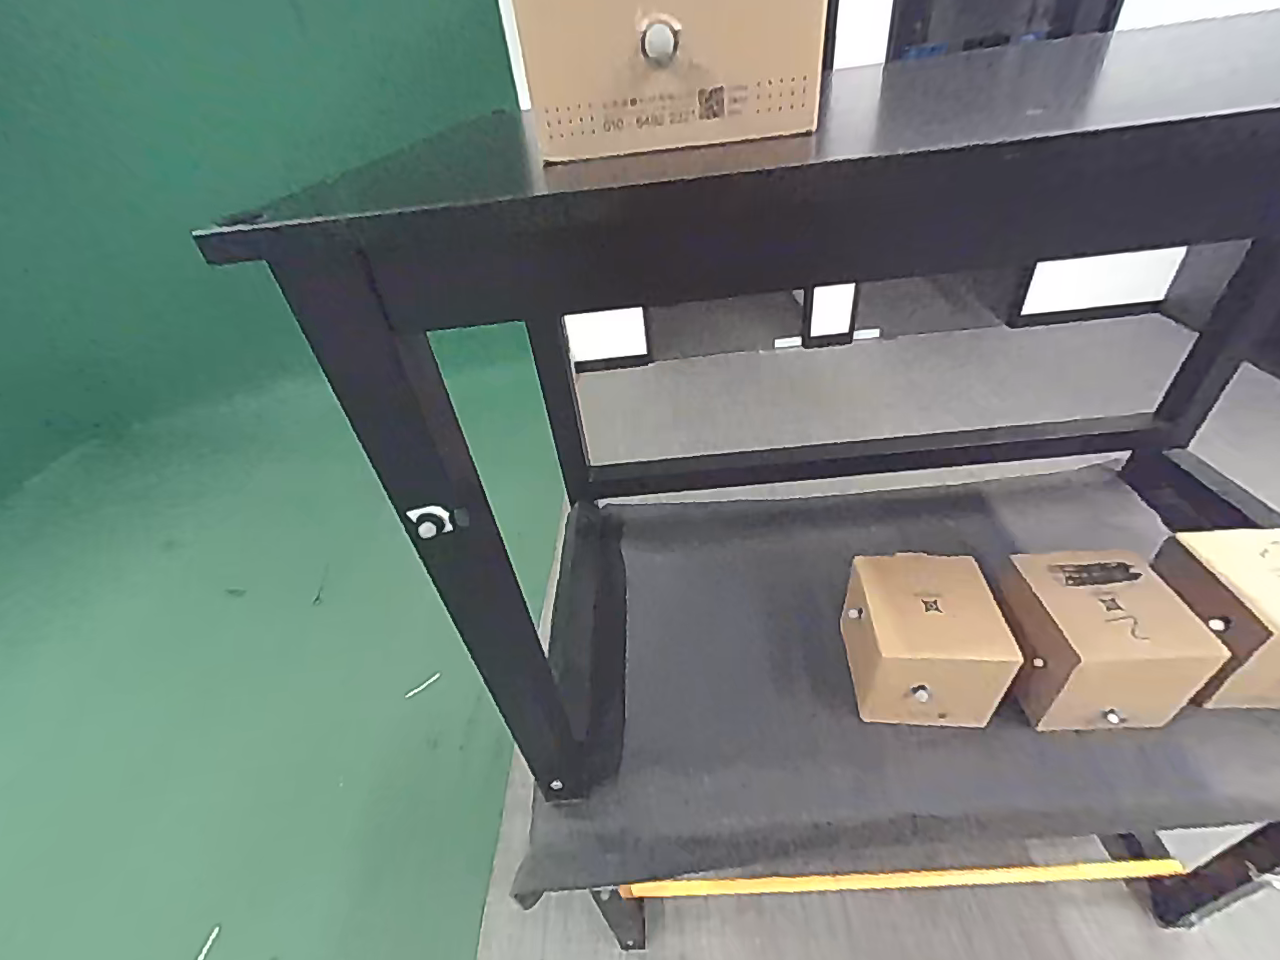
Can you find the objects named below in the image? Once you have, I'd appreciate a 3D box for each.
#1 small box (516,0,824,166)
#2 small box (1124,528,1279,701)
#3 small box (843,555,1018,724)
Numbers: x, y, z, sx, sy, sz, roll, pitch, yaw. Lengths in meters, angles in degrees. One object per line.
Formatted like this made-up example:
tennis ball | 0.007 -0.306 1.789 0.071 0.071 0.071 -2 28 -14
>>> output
small box | 0.015 -0.308 0.340 0.168 0.176 0.179 -4 39 5
small box | 0.838 0.189 0.745 0.168 0.176 0.179 -3 38 6
small box | 0.399 0.229 0.779 0.168 0.176 0.179 -1 38 9
